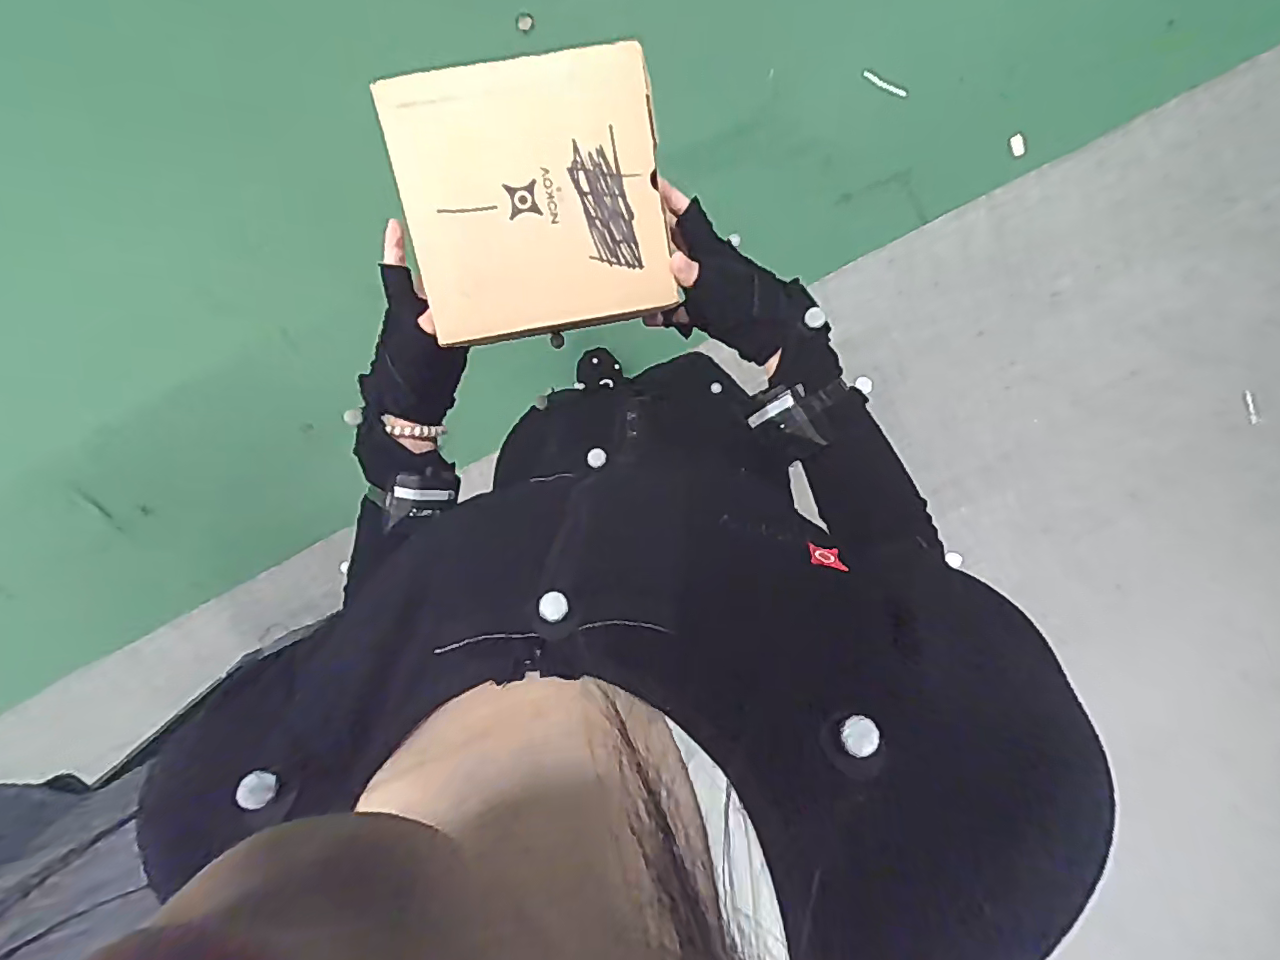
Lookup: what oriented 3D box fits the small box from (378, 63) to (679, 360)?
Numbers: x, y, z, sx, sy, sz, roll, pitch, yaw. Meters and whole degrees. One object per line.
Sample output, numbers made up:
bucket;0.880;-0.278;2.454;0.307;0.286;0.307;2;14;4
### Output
small box;-0.078;-0.199;0.443;0.179;0.176;0.168;-11;105;-3
